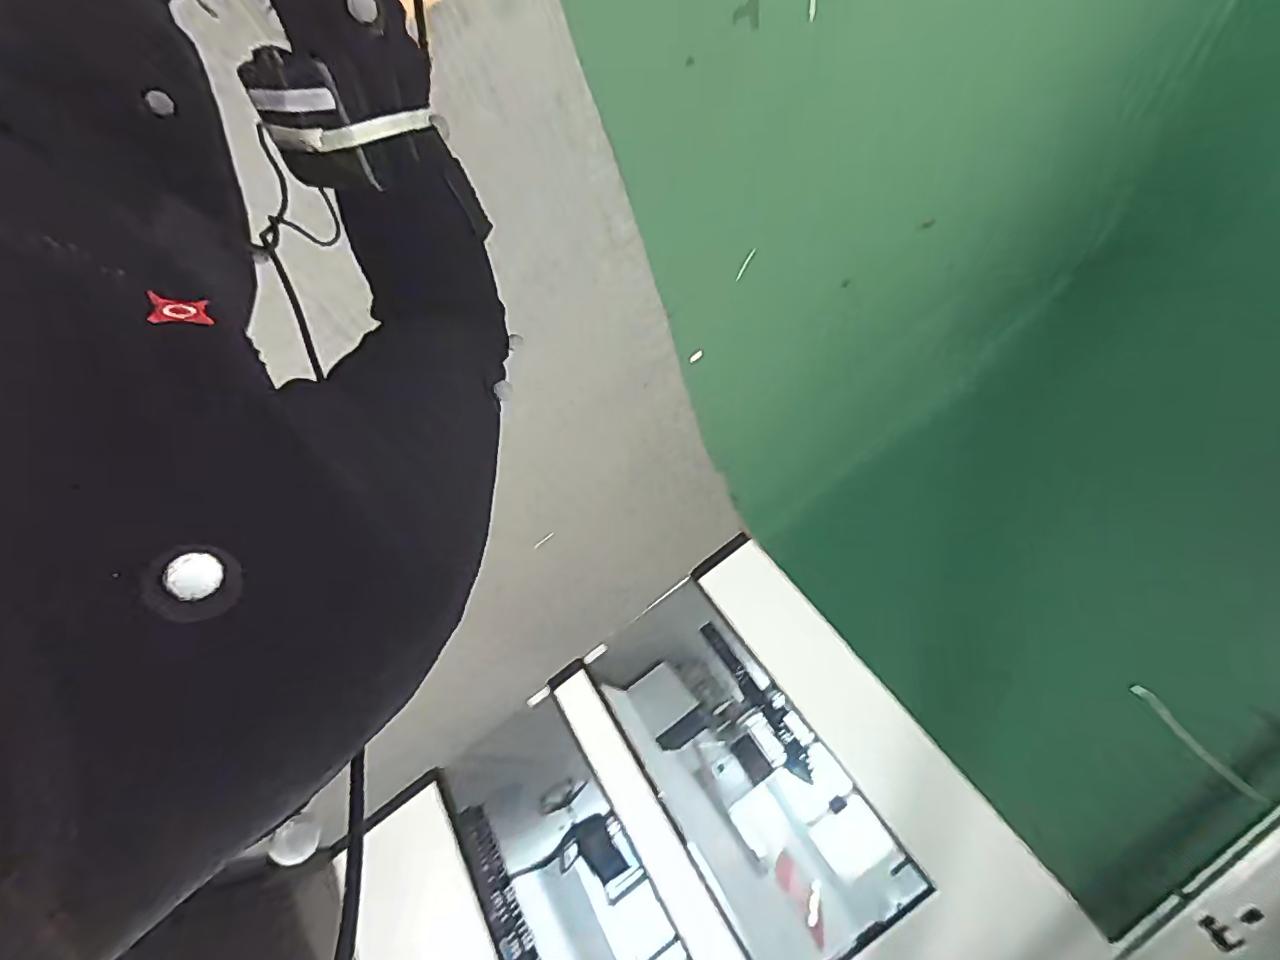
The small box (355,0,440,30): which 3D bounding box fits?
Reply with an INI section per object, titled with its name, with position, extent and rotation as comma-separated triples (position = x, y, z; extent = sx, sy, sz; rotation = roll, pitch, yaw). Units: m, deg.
[small box]
position = -0.400, -0.861, 0.848
extent = 0.179, 0.176, 0.168
rotation = -34, 148, -4
